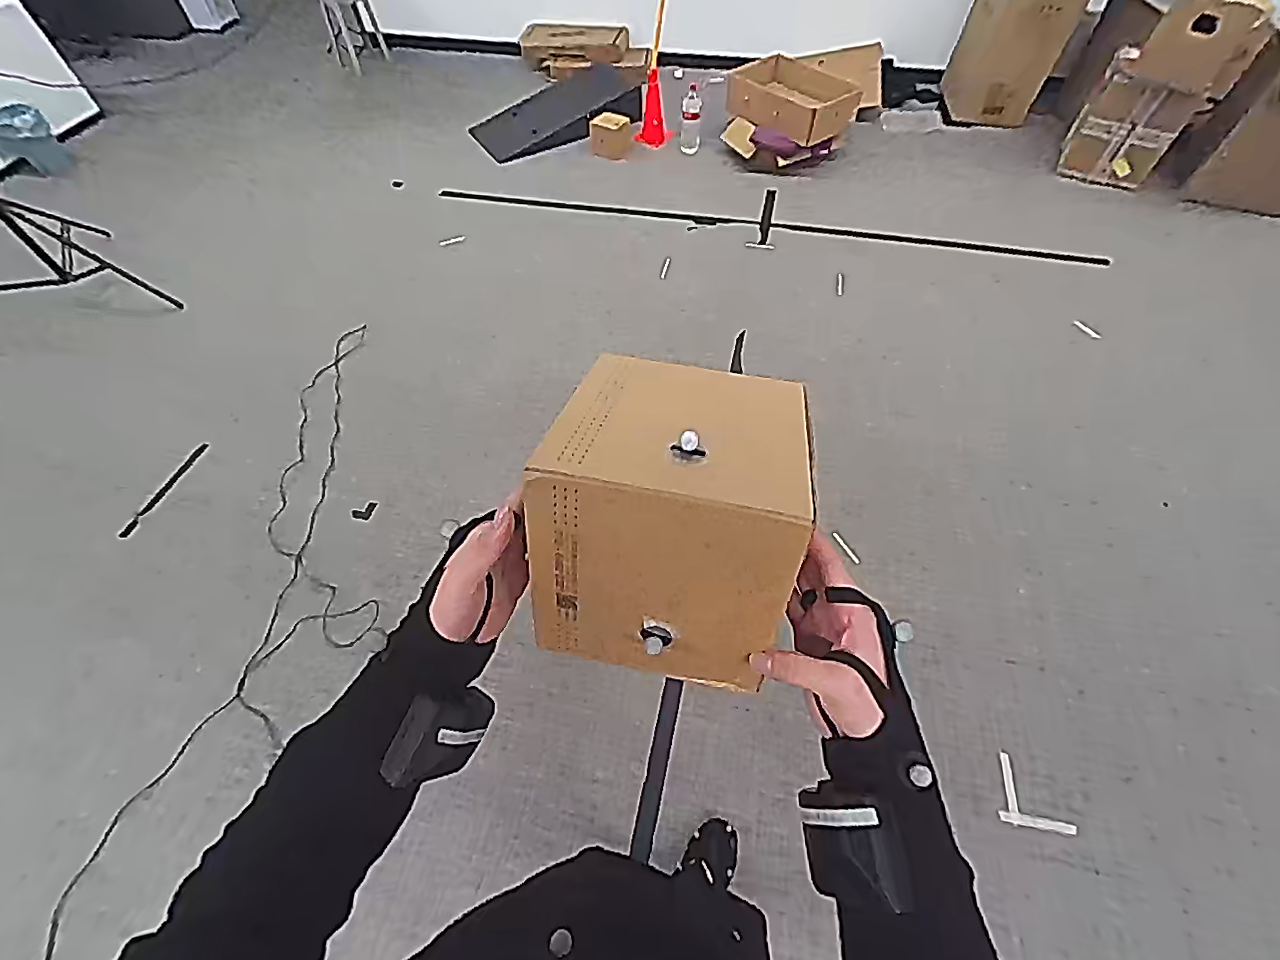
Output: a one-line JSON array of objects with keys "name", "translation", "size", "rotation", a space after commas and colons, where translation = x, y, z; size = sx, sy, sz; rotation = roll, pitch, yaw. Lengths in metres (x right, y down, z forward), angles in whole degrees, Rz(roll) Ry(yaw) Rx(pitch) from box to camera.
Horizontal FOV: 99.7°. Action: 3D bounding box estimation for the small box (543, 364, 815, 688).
[{"name": "small box", "translation": [0.027, 0.026, 0.422], "size": [0.176, 0.168, 0.179], "rotation": [10, 38, 6]}]
